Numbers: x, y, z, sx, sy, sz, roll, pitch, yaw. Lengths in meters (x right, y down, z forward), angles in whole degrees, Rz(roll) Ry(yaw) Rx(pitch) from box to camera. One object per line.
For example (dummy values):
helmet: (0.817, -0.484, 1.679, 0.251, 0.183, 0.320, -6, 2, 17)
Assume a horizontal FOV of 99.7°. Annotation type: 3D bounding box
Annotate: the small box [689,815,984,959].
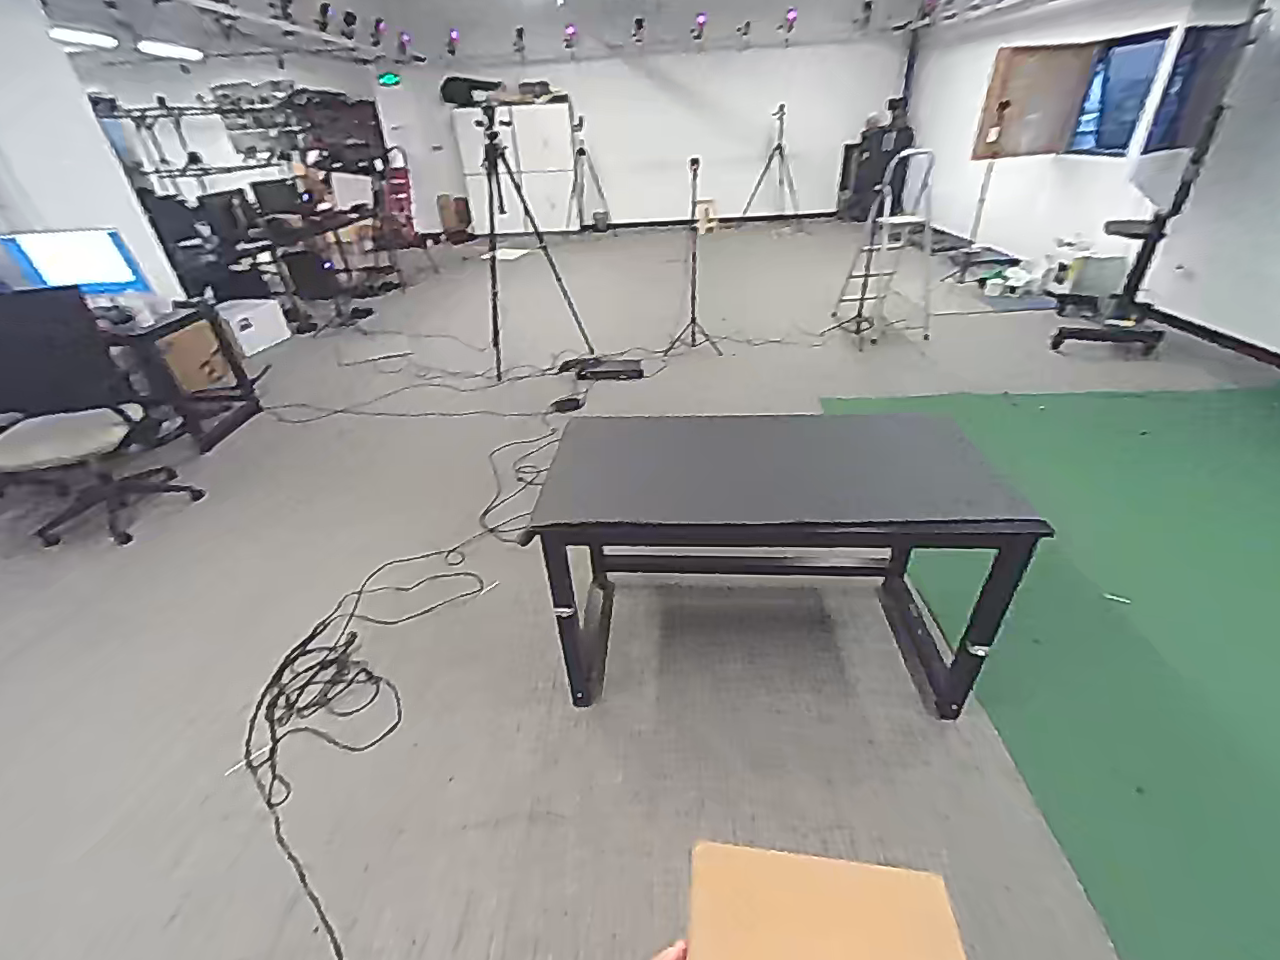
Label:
small box: (0.113, 0.354, 0.343, 0.168, 0.176, 0.179, 4, 36, 7)
